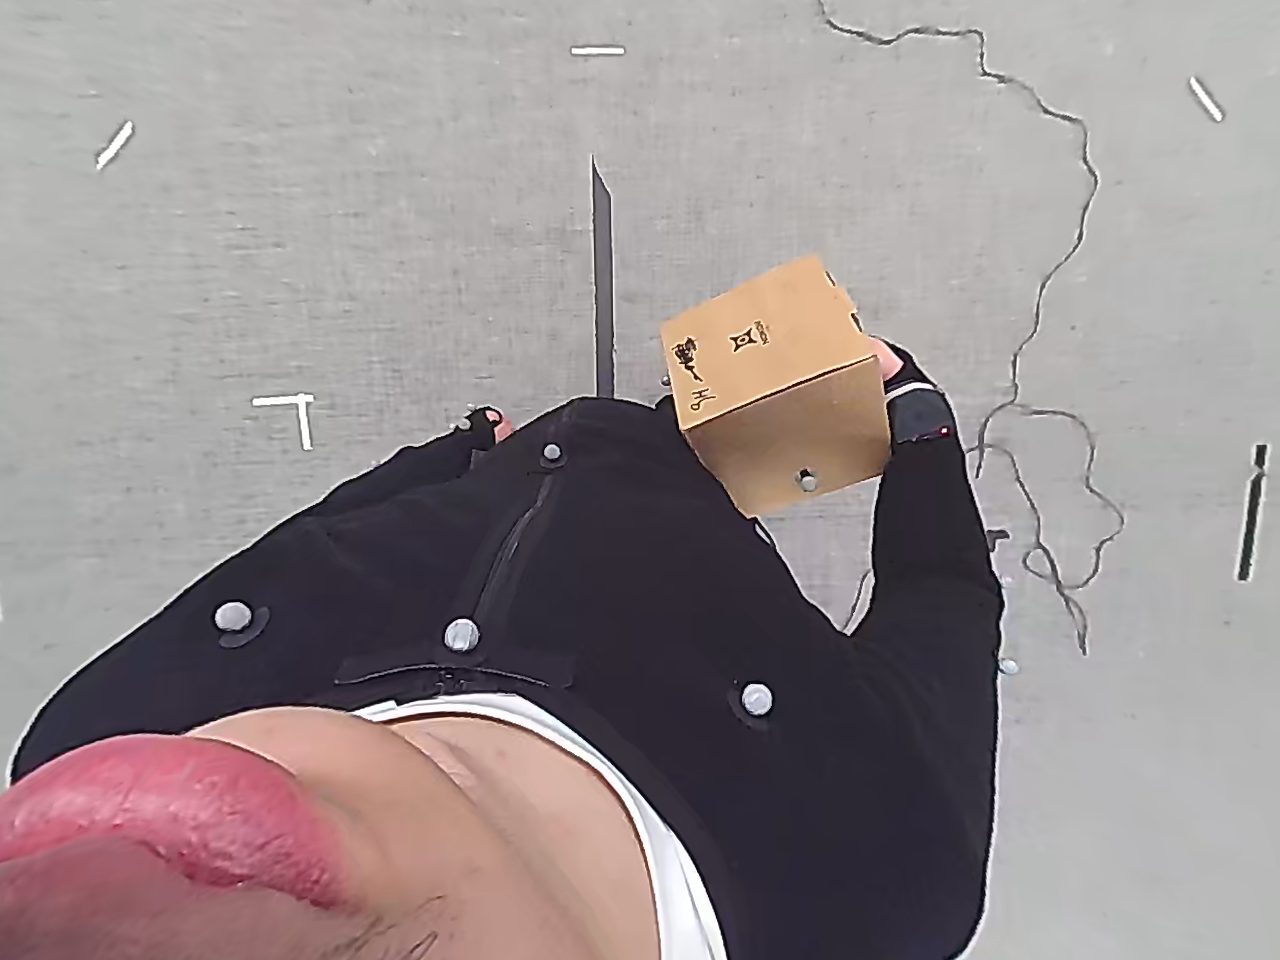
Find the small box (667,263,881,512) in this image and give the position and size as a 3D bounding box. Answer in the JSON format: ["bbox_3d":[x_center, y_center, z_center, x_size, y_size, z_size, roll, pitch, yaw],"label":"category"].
[{"bbox_3d":[0.148,-0.092,0.590,0.179,0.168,0.176,-21,137,15],"label":"small box"}]
